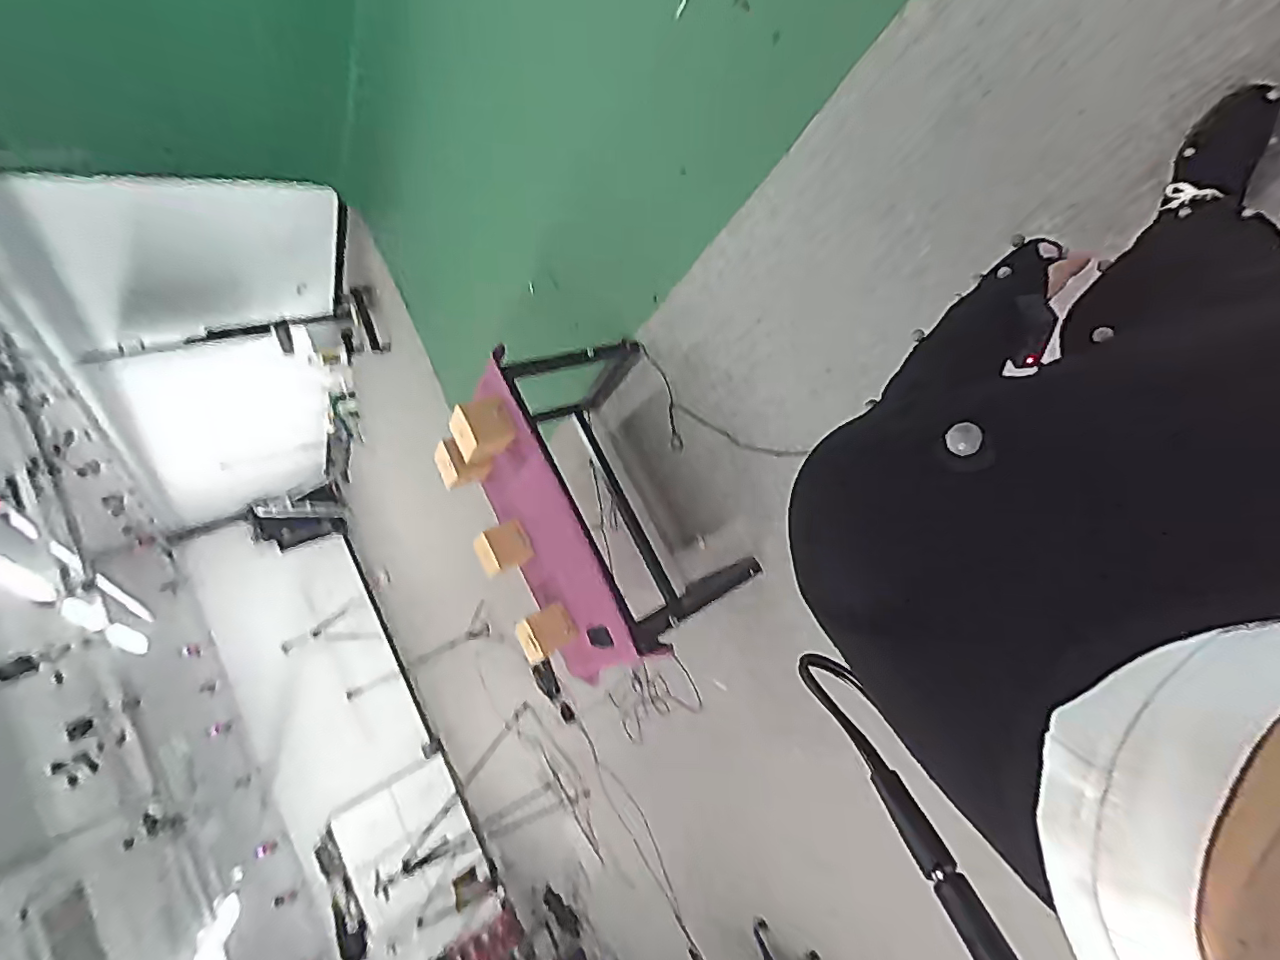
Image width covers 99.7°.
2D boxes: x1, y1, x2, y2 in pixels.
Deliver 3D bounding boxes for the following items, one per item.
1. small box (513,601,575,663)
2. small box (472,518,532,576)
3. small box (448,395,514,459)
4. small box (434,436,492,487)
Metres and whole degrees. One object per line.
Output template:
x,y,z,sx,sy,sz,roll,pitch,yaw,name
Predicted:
-0.383,0.608,2.173,0.168,0.176,0.179,60,144,12,small box
-0.574,0.279,2.254,0.179,0.176,0.168,-39,77,51,small box
-0.597,-0.200,2.042,0.179,0.176,0.168,-35,81,53,small box
-0.751,-0.090,2.296,0.179,0.176,0.168,-34,80,53,small box
